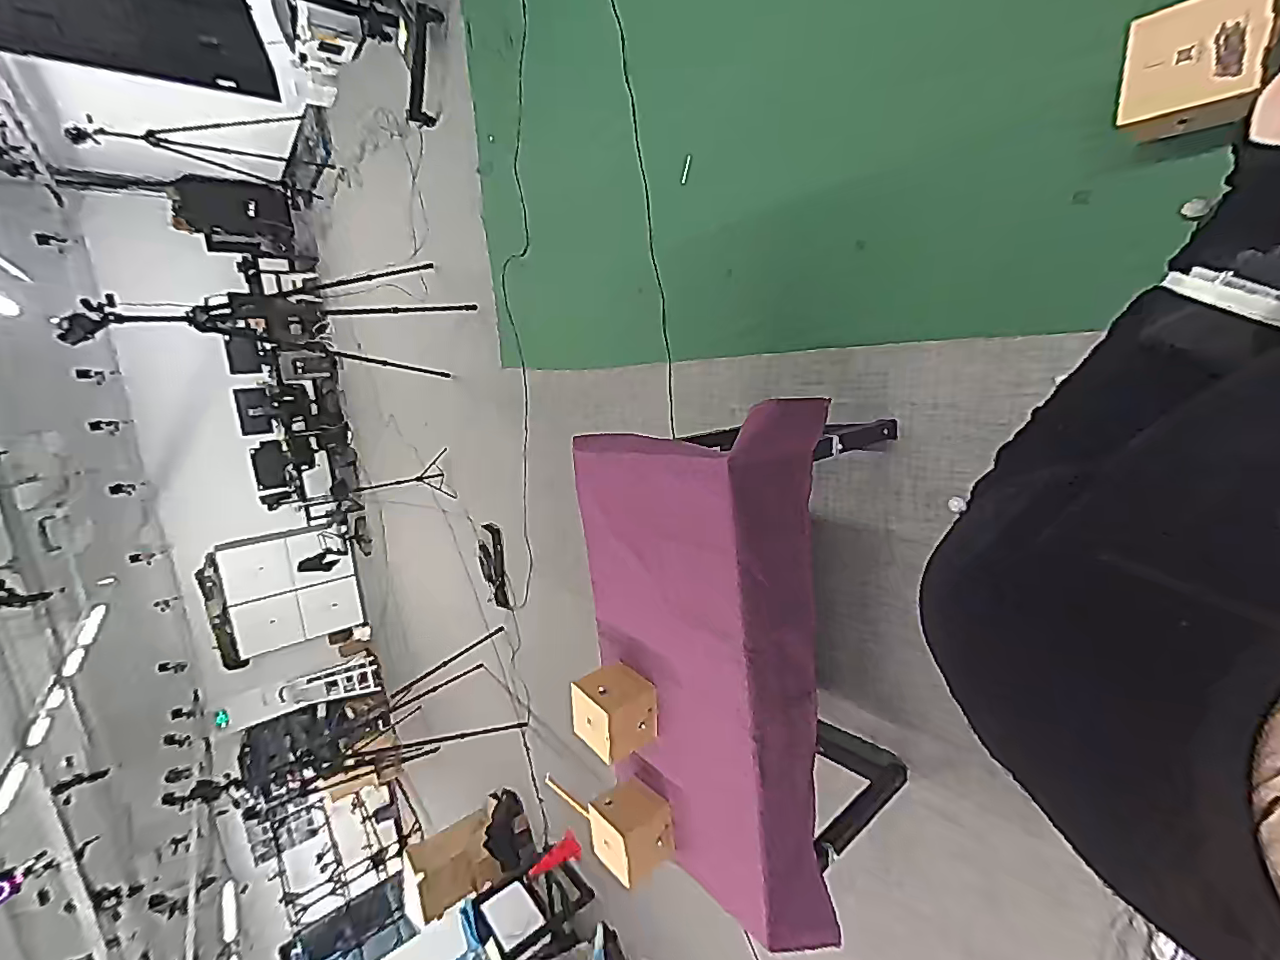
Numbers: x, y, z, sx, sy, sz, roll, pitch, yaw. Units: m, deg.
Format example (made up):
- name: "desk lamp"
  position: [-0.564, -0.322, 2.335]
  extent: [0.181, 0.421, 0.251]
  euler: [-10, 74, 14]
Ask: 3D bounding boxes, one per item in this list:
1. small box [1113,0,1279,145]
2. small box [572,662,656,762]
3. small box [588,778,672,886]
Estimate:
- name: "small box"
  position: [0.976, -0.716, 0.947]
  extent: [0.179, 0.176, 0.168]
  euler: [15, 112, 51]
- name: "small box"
  position: [-0.073, 0.635, 1.511]
  extent: [0.179, 0.176, 0.168]
  euler: [17, 114, 48]
- name: "small box"
  position: [-0.028, 0.997, 1.557]
  extent: [0.179, 0.176, 0.168]
  euler: [6, 106, 51]
